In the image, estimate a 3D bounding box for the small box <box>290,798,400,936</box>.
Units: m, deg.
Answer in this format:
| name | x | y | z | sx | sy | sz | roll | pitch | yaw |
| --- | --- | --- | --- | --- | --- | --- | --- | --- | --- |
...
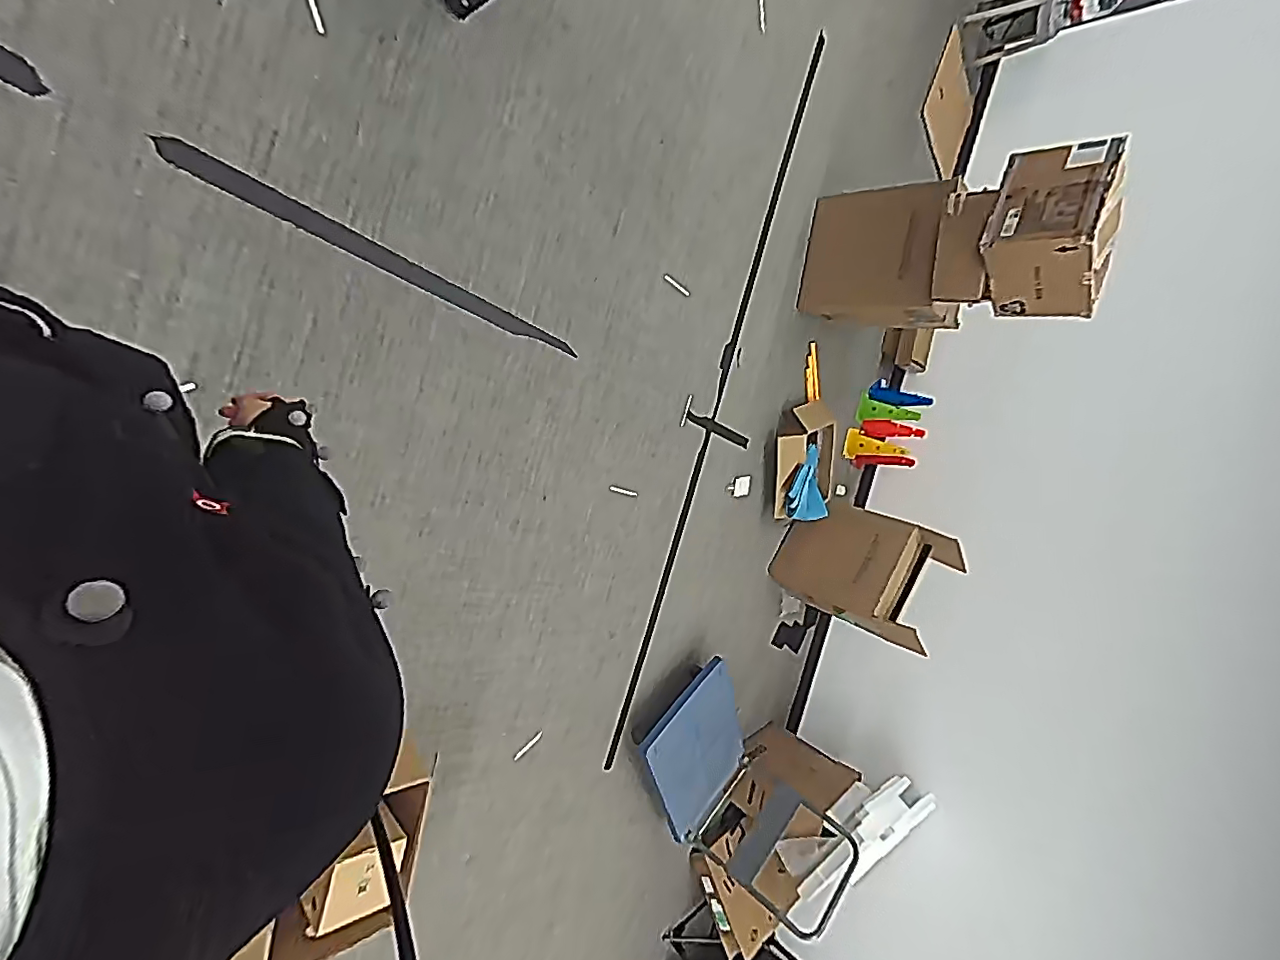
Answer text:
| name | x | y | z | sx | sy | sz | roll | pitch | yaw |
| --- | --- | --- | --- | --- | --- | --- | --- | --- | --- |
| small box | -0.702 | 0.902 | 1.281 | 0.168 | 0.176 | 0.179 | 13 | 92 | -50 |
